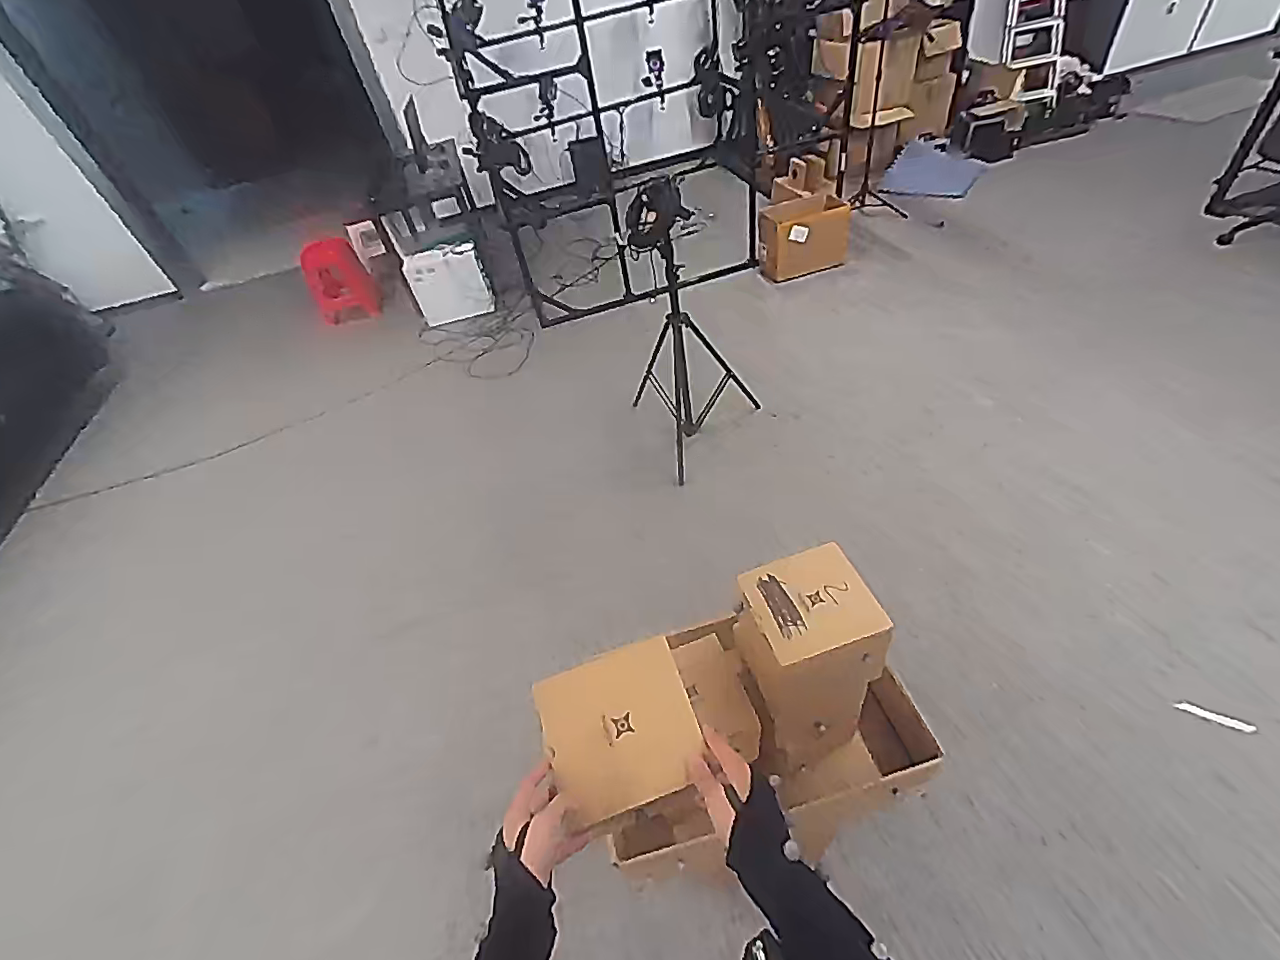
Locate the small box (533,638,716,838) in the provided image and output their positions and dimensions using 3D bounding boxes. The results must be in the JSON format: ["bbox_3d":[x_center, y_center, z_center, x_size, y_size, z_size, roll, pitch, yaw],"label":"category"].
[{"bbox_3d":[-0.016,0.327,0.685,0.179,0.176,0.168,-20,56,-6],"label":"small box"}]

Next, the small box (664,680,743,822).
[{"bbox_3d":[0.093,0.538,1.072,0.168,0.176,0.179,-20,45,-7],"label":"small box"}]
